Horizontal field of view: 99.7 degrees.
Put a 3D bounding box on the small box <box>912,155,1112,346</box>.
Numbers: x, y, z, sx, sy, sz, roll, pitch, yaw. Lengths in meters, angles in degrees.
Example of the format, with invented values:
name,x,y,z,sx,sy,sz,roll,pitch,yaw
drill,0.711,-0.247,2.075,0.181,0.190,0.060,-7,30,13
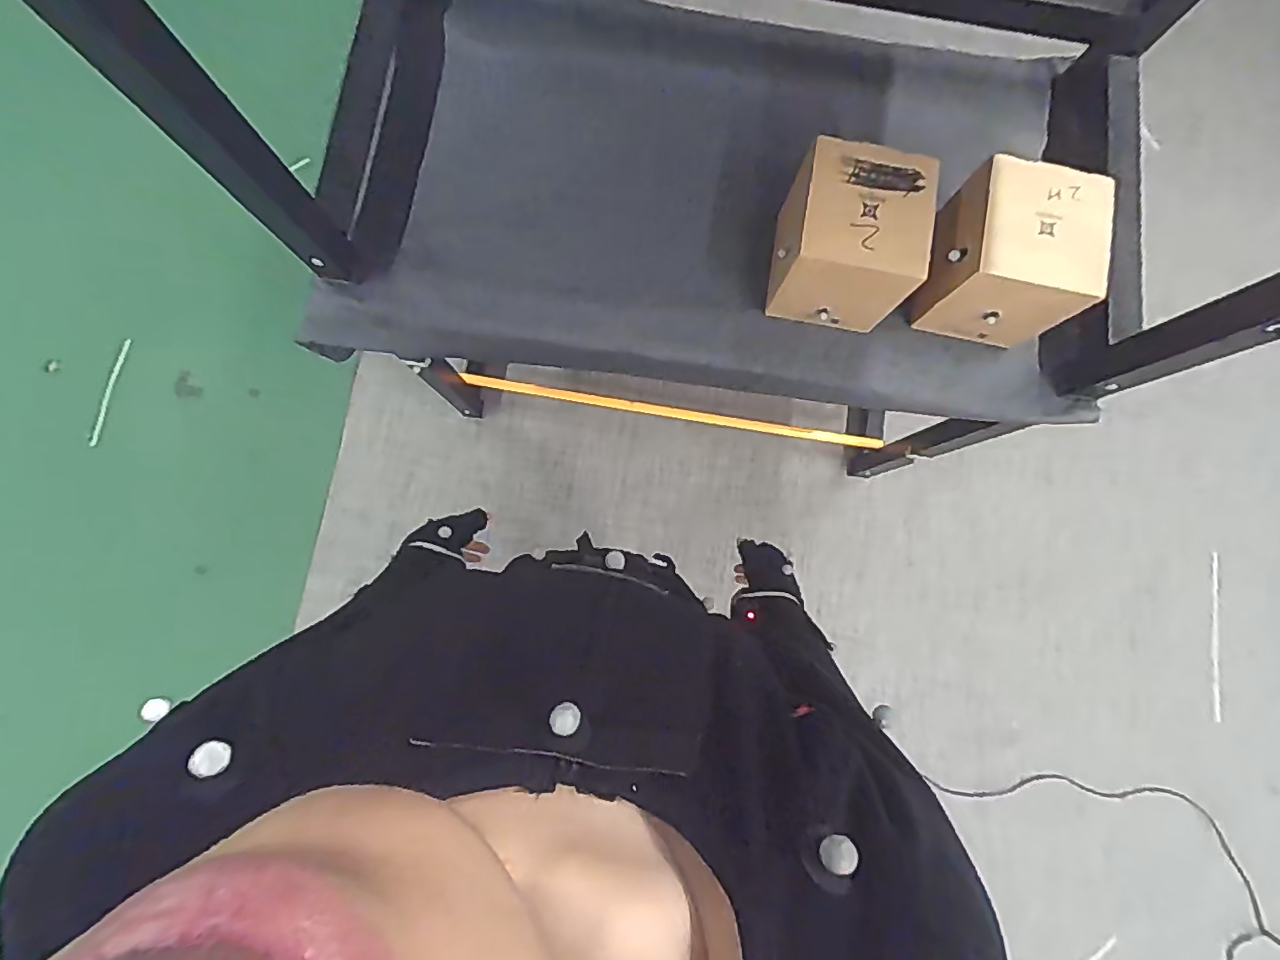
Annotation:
name,x,y,z,sx,sy,sz,roll,pitch,yaw
small box,0.515,-0.313,0.772,0.168,0.176,0.179,12,81,0
